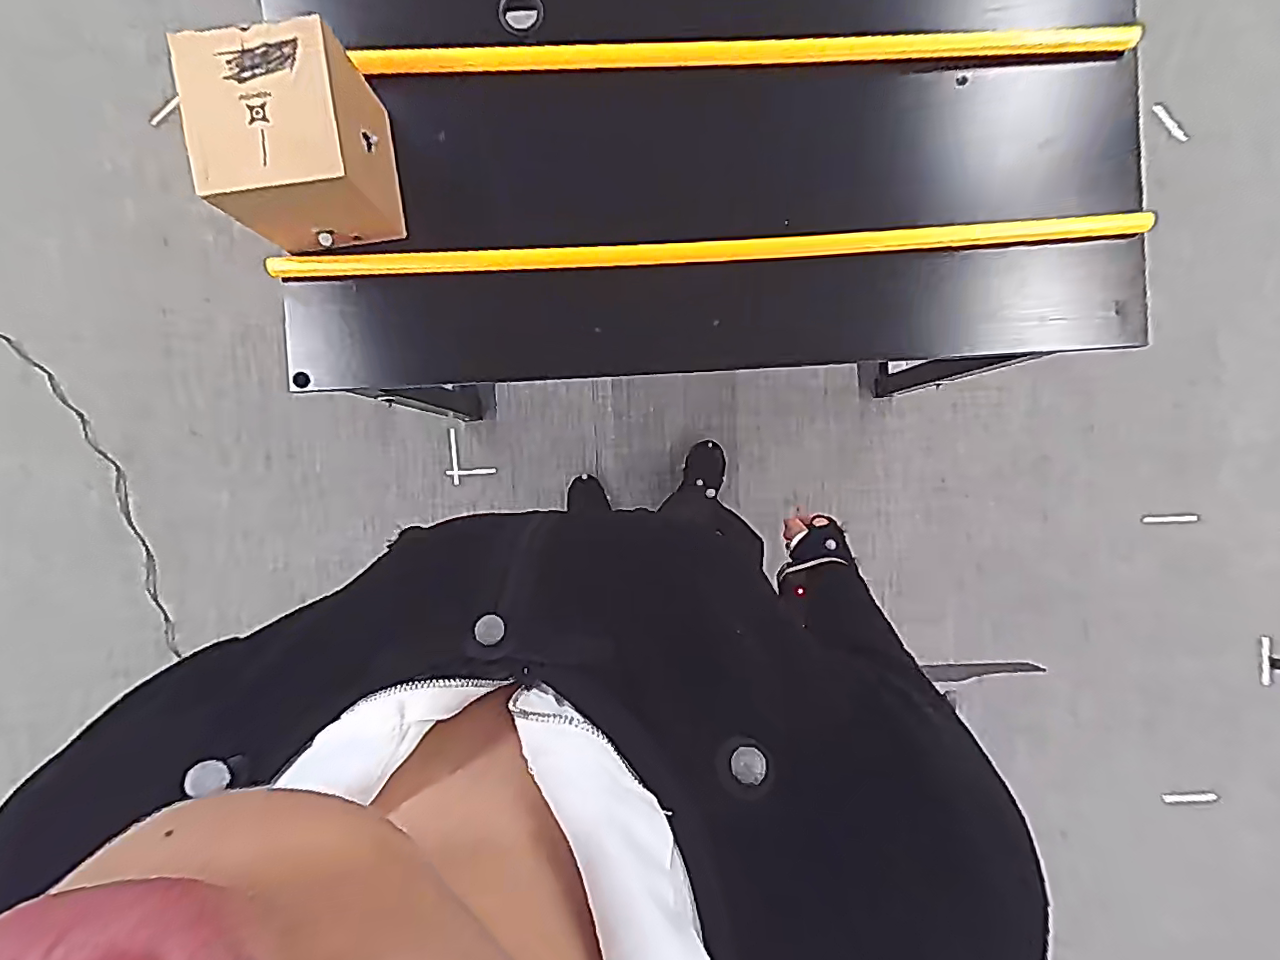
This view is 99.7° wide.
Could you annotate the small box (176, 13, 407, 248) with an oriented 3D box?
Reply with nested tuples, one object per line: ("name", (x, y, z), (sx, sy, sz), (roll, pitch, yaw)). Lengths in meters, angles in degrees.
("small box", (-0.409, -0.413, 0.665), (0.168, 0.176, 0.179), (-8, 93, -1))
